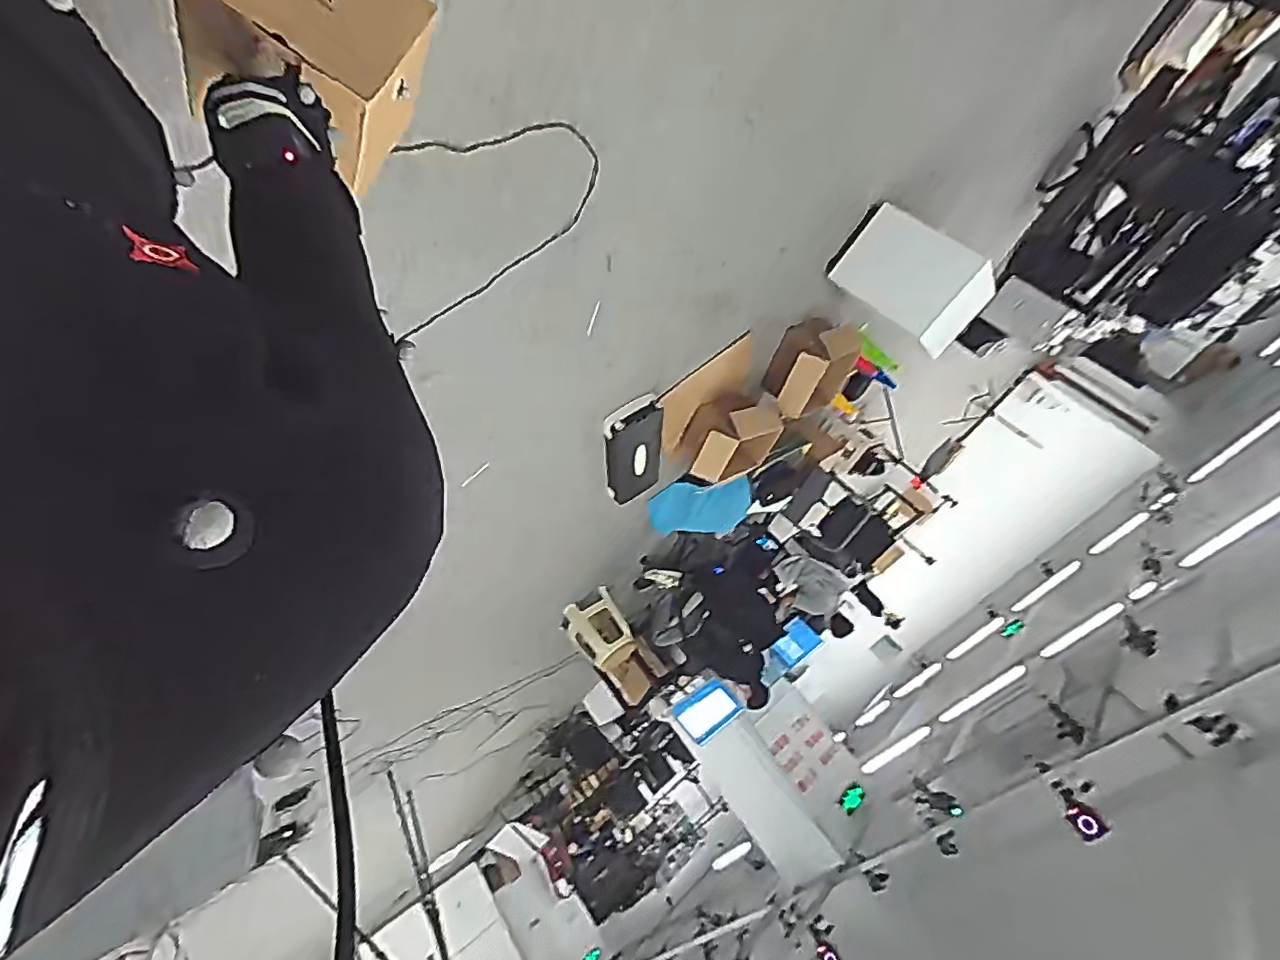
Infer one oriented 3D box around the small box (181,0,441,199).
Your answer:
[{"bbox_3d":[-0.339,-0.445,0.569,0.168,0.179,0.176,28,151,-28],"label":"small box"}]
